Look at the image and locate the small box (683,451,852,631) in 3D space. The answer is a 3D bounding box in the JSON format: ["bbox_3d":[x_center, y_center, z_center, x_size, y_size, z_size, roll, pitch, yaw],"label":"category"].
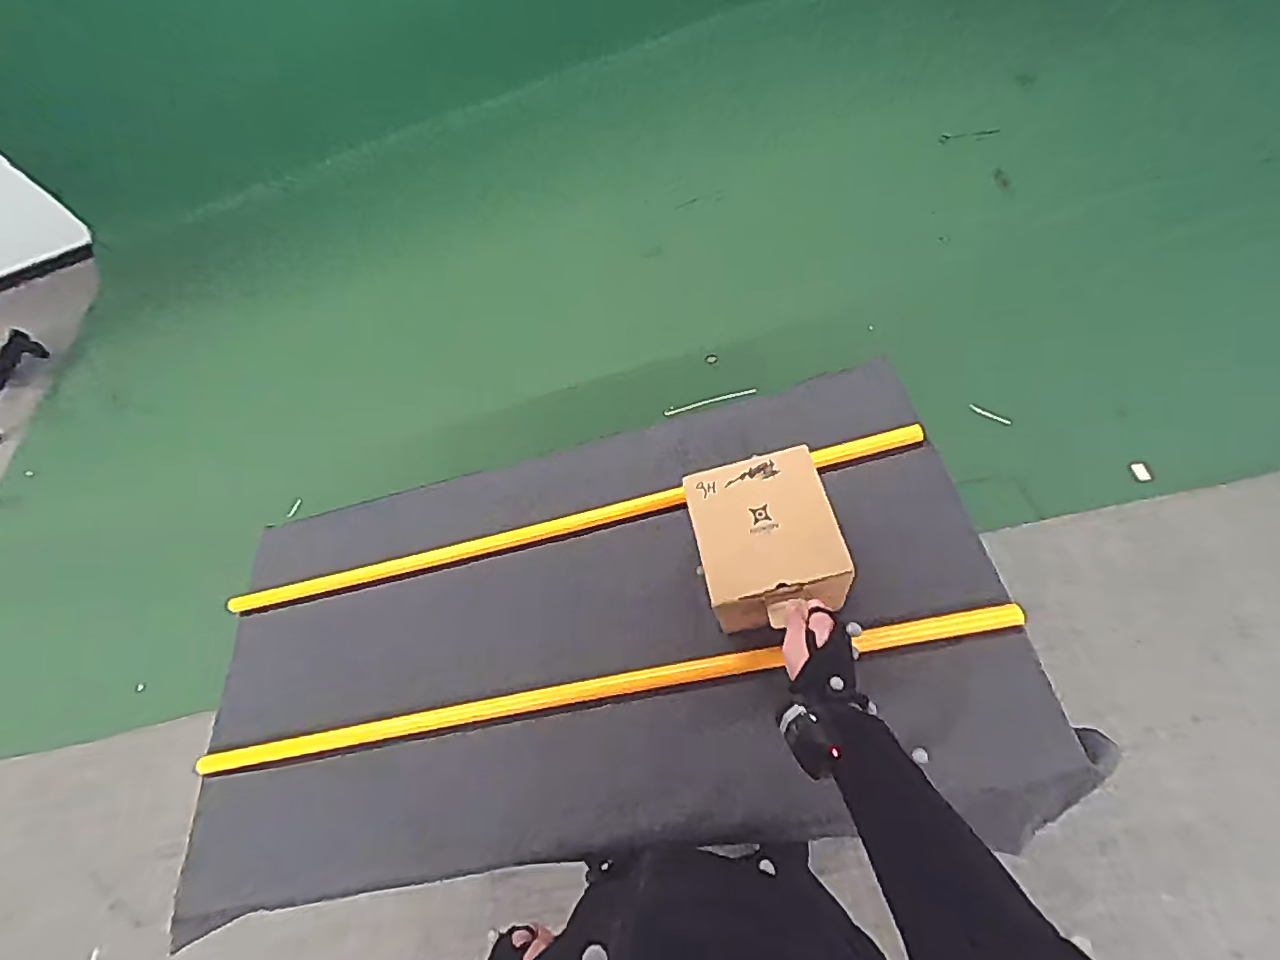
[{"bbox_3d":[0.171,0.094,0.726,0.168,0.176,0.179,-18,59,8],"label":"small box"}]
